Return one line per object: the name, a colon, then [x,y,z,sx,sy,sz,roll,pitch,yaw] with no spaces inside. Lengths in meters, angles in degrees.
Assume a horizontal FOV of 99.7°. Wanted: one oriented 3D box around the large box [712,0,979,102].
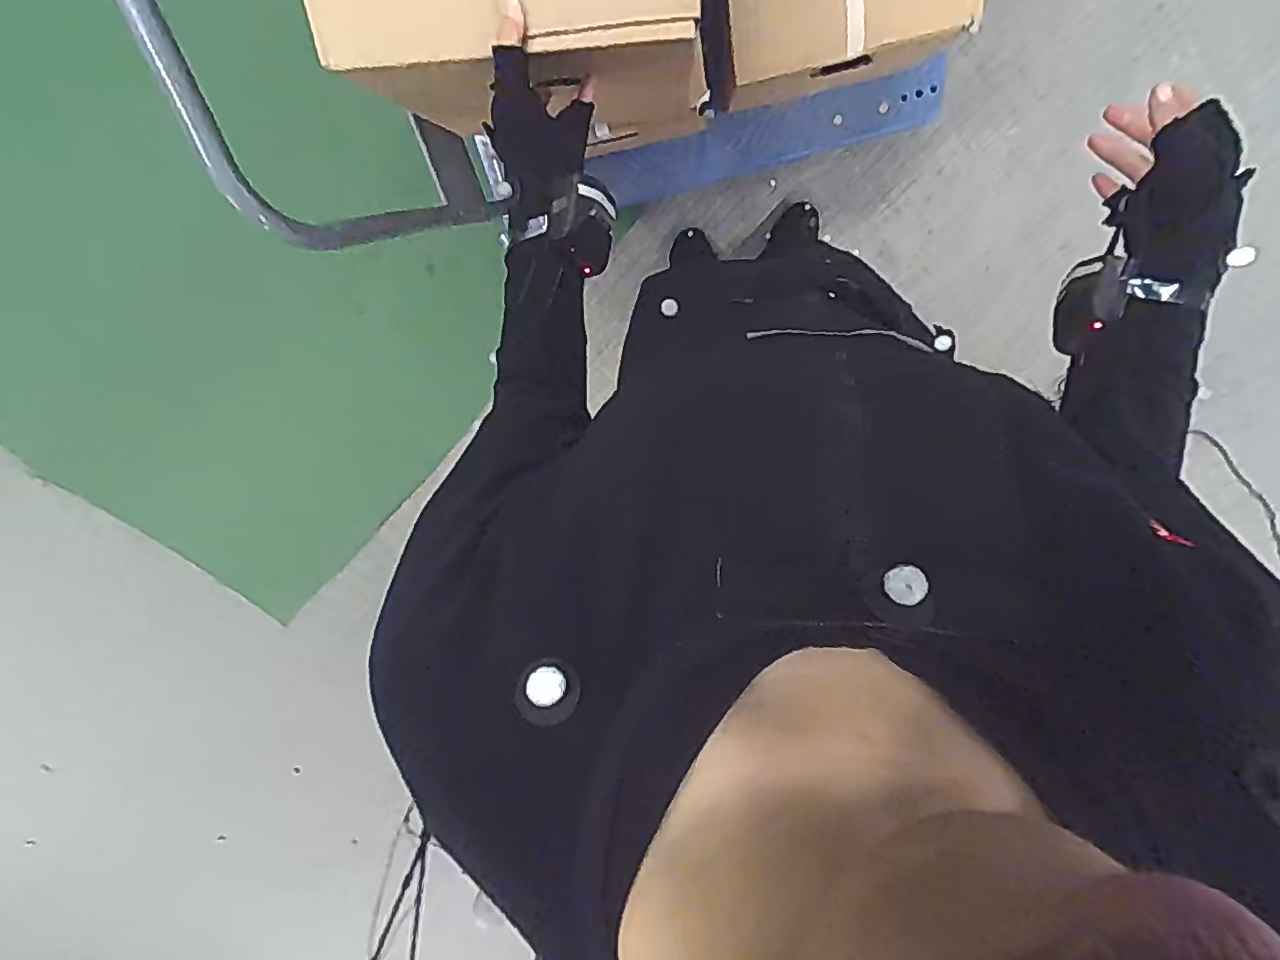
large box: [0.250,-0.813,0.748,0.320,0.320,0.408,-7,118,10]
